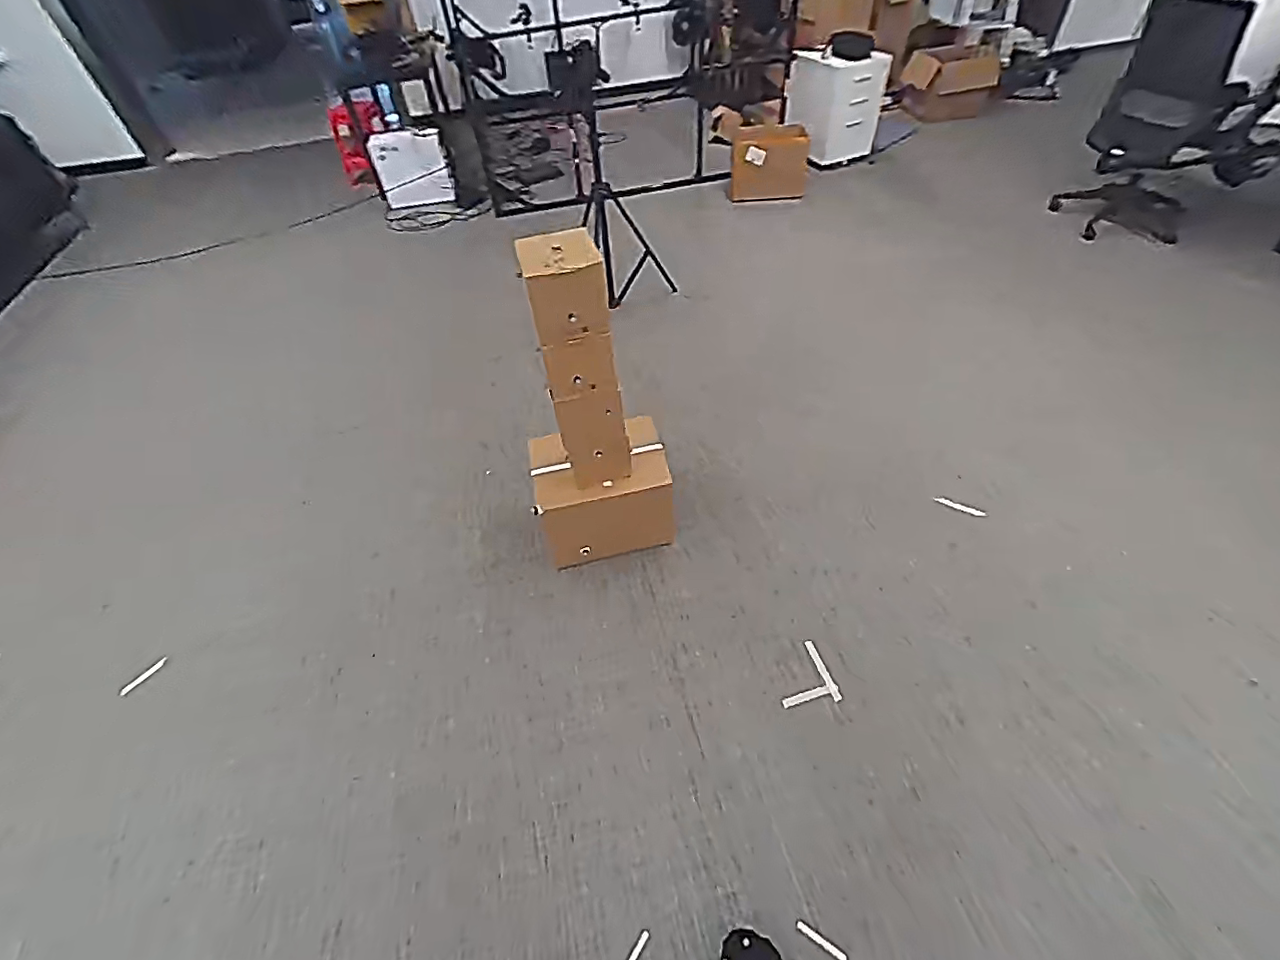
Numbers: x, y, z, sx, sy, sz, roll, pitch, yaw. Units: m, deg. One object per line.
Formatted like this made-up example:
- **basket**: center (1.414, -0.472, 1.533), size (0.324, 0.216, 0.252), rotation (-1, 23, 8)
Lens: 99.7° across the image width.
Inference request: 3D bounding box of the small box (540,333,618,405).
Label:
- **small box**: center (-0.157, -0.314, 1.341), size (0.168, 0.176, 0.179), rotation (-13, 50, -7)

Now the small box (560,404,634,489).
- **small box**: center (-0.125, -0.094, 1.580), size (0.179, 0.176, 0.168), rotation (-13, 50, -8)

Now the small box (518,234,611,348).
- **small box**: center (-0.169, -0.424, 1.219), size (0.168, 0.176, 0.179), rotation (-15, 50, -7)
